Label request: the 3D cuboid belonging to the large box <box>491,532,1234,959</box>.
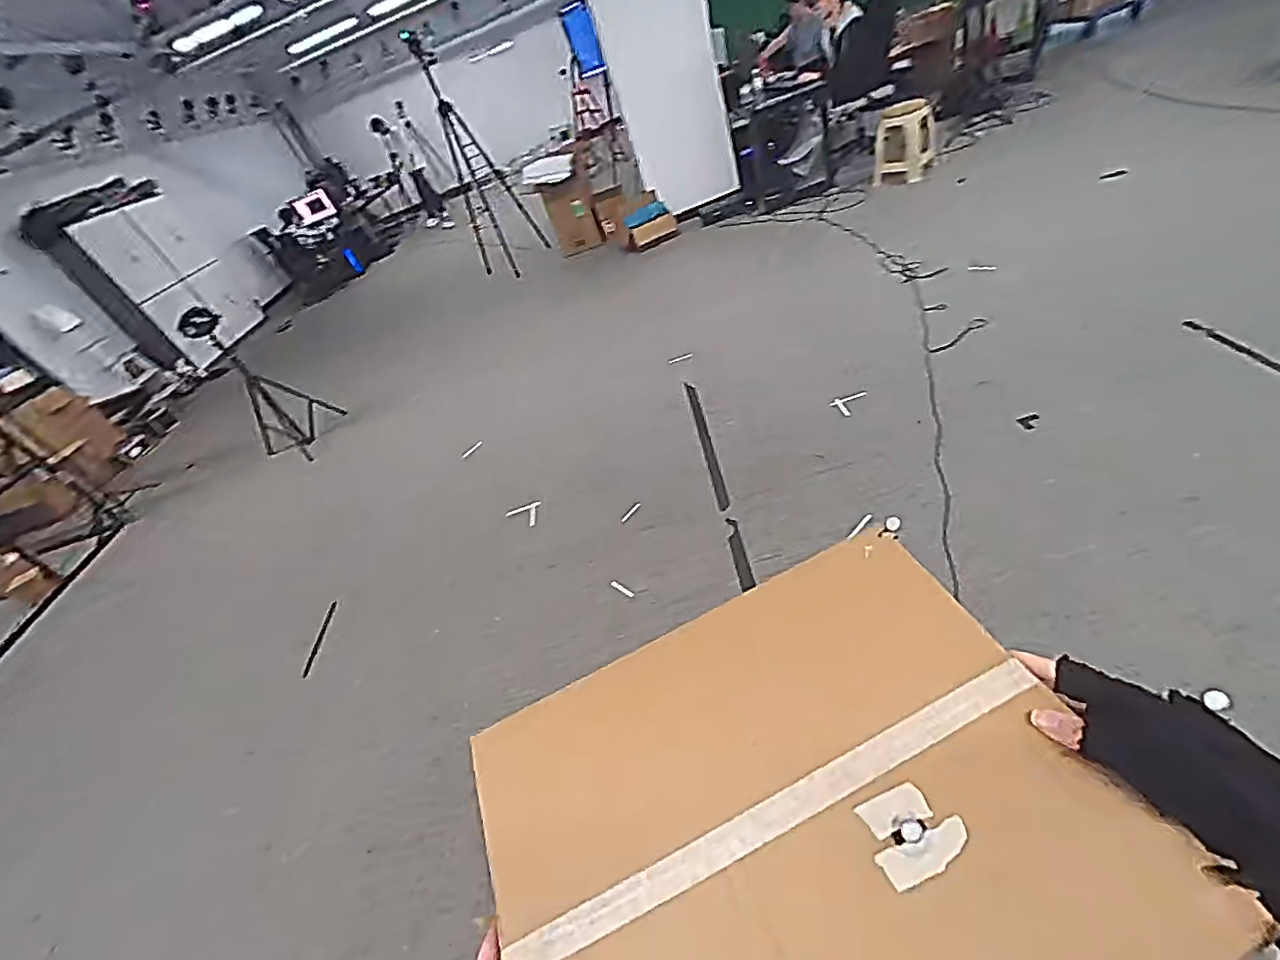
[{"bbox_3d":[0.138,0.325,0.491,0.408,0.320,0.320,-26,48,-5],"label":"large box"}]
